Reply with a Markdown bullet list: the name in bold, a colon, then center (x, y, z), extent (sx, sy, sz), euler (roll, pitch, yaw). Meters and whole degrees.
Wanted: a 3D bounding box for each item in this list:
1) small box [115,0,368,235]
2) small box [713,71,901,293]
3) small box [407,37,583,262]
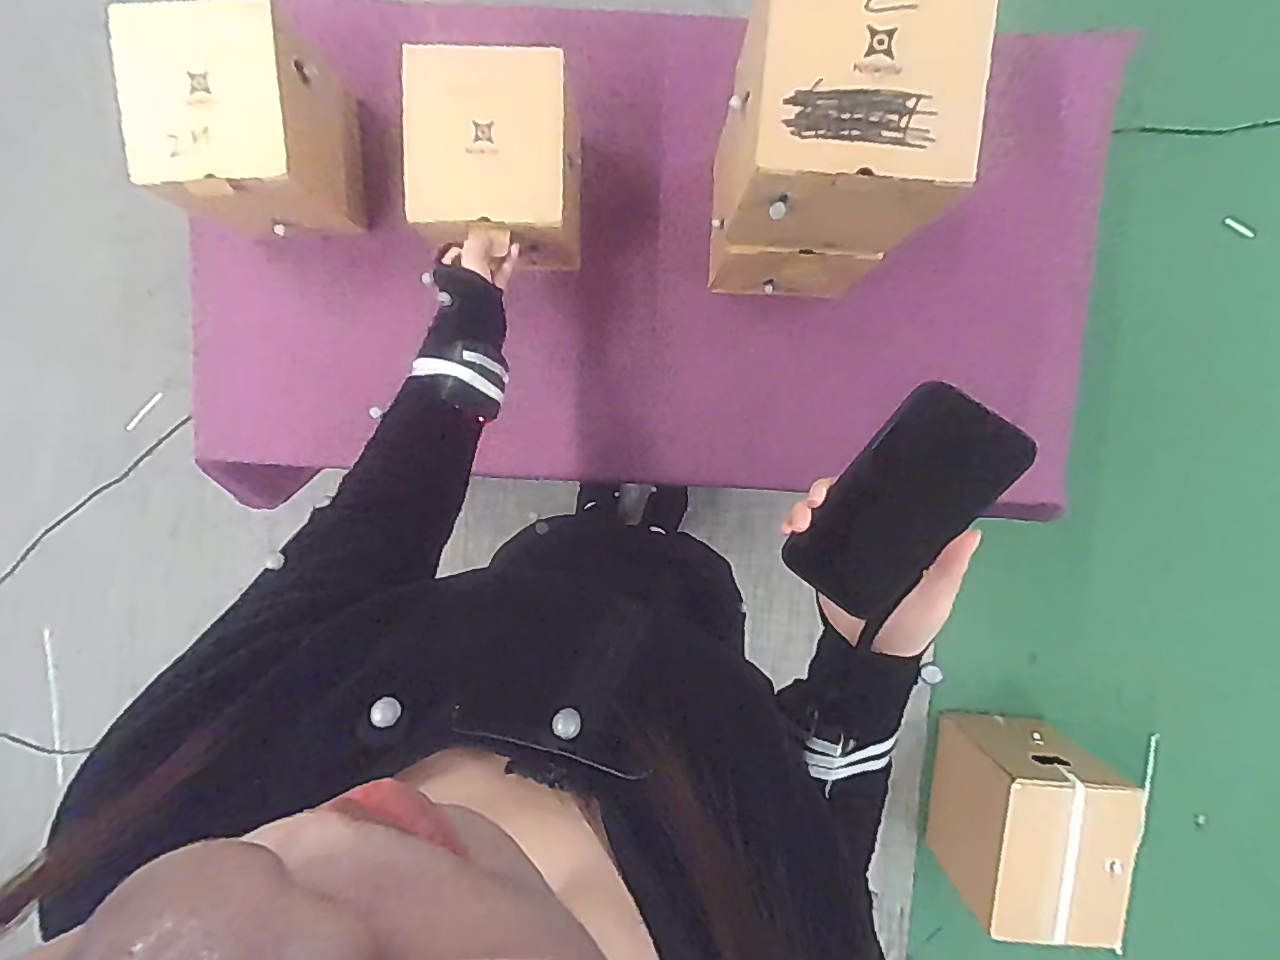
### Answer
- **small box**: center (-0.443, -0.406, 0.630), extent (0.168, 0.176, 0.179), euler (-2, 97, 1)
- **small box**: center (0.180, -0.333, 0.635), extent (0.168, 0.176, 0.179), euler (2, 97, 0)
- **small box**: center (-0.157, -0.368, 0.634), extent (0.168, 0.176, 0.179), euler (2, 96, 0)
